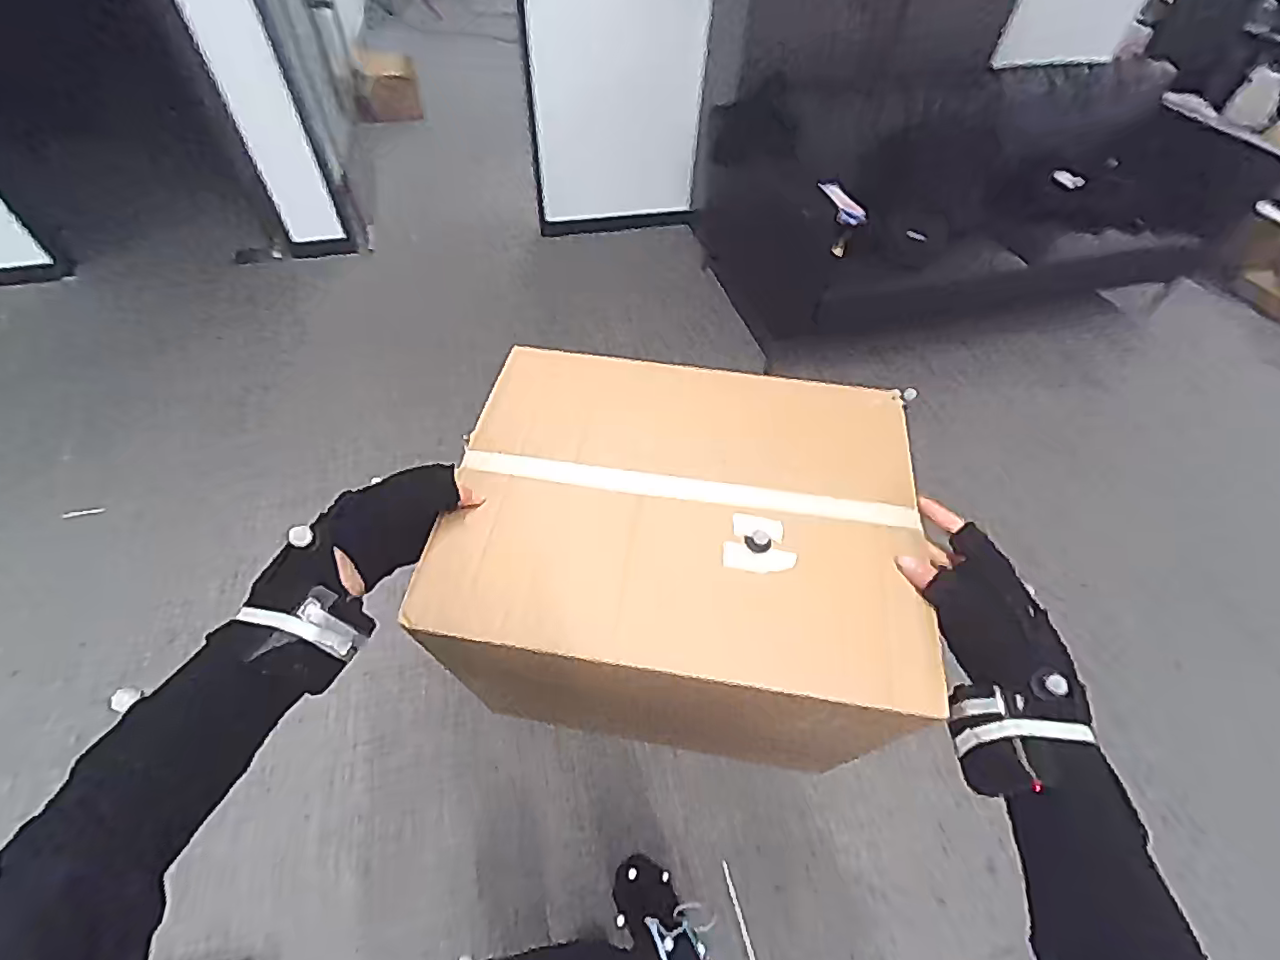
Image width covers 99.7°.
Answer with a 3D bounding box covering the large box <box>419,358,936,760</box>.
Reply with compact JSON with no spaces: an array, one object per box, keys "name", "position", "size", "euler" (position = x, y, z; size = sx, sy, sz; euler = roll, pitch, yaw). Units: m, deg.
[{"name":"large box","position":[0.038,0.098,0.613],"size":[0.408,0.320,0.320],"euler":[8,56,4]}]
